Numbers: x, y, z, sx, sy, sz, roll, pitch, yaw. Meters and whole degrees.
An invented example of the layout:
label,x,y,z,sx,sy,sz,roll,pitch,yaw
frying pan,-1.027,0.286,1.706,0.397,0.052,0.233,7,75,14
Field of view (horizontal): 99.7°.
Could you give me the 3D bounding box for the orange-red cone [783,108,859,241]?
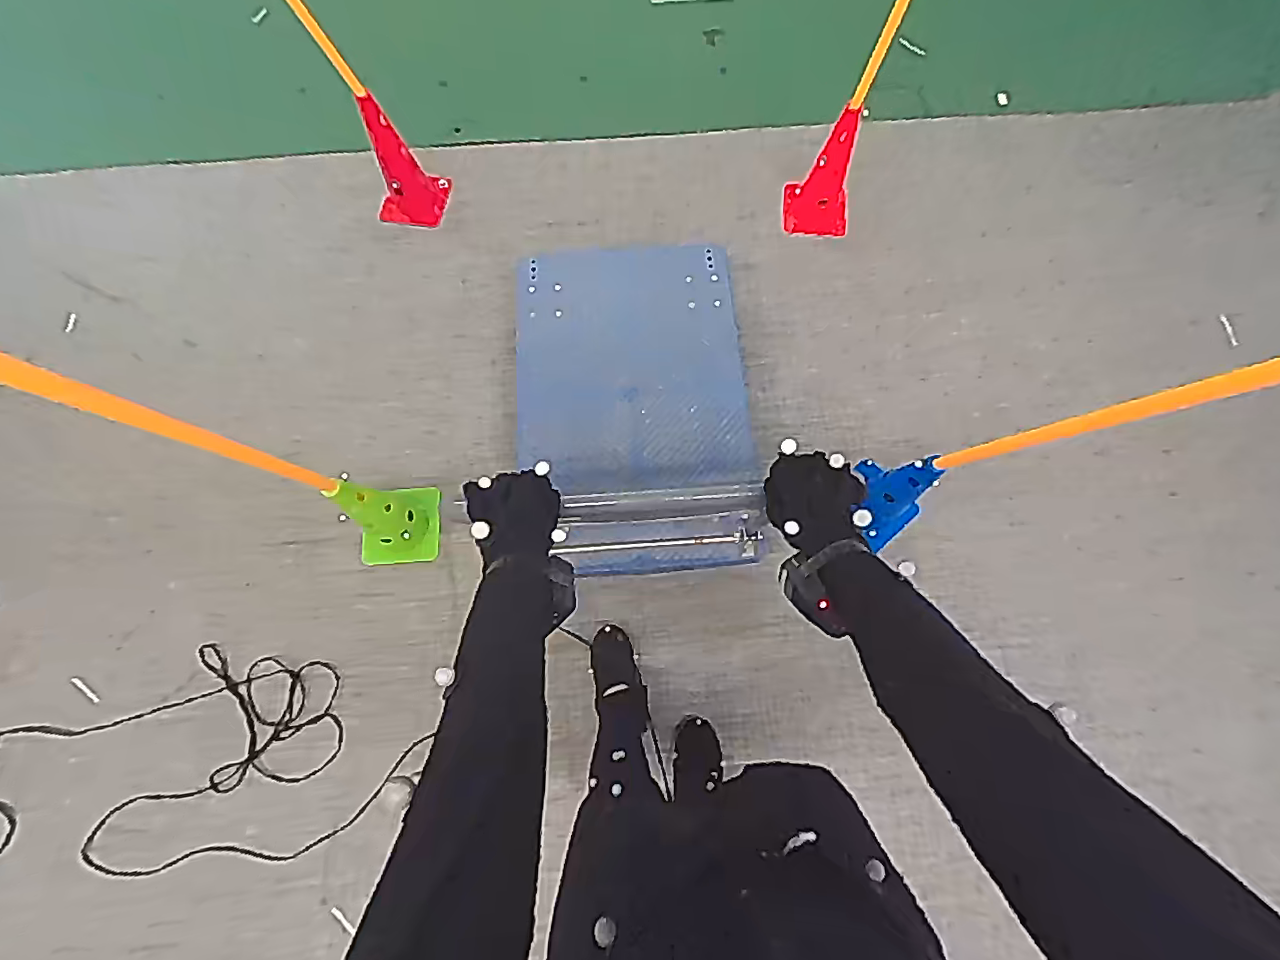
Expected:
label,x,y,z,sx,sy,sz,roll,pitch,yaw
orange-red cone,0.561,-0.907,1.583,0.198,0.360,0.199,7,73,3
